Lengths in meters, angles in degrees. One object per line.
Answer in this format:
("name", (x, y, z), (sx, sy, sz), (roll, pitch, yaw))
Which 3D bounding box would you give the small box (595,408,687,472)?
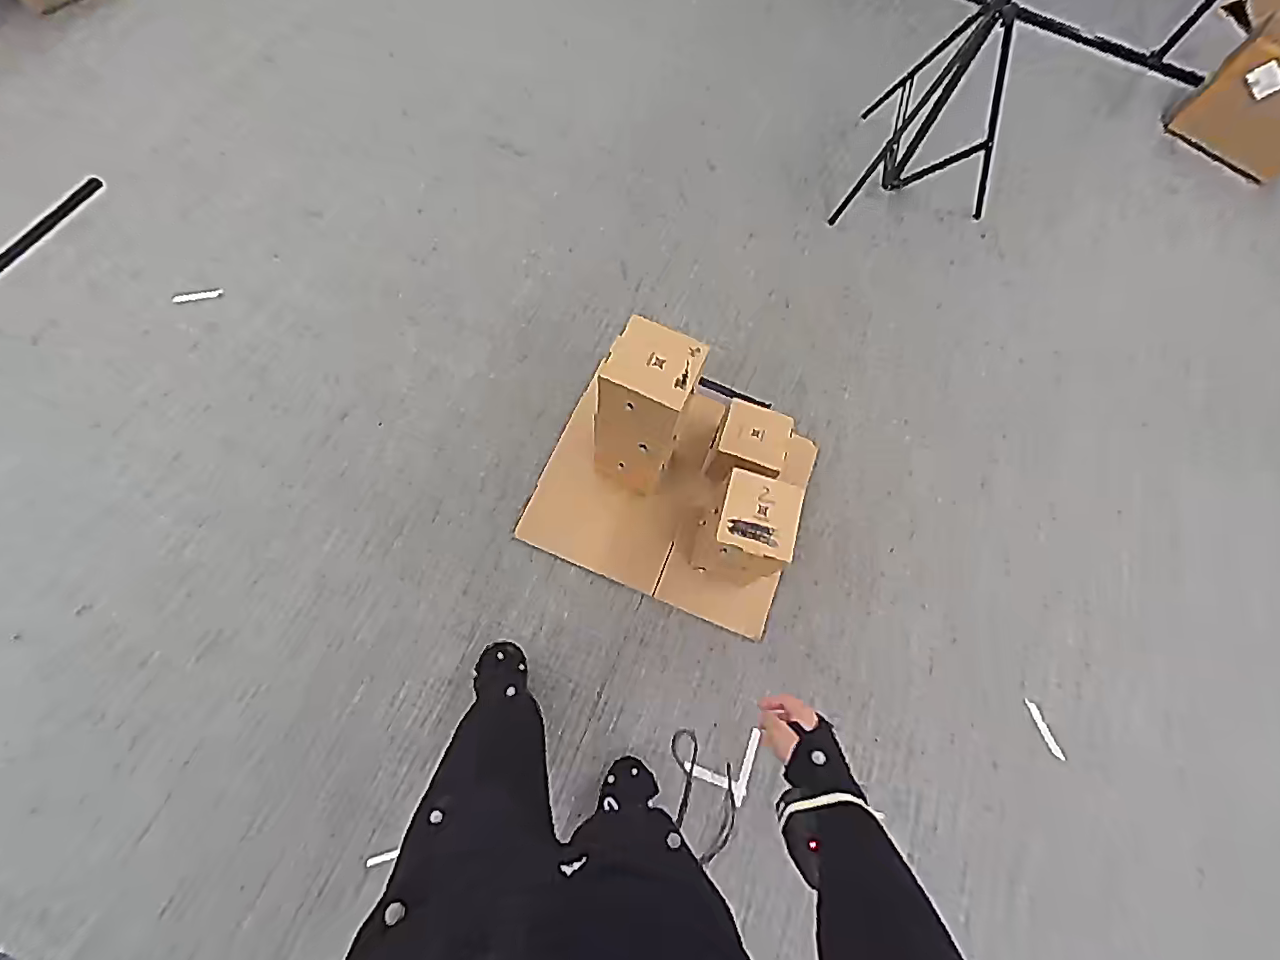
("small box", (0.007, -0.139, 1.284), (0.179, 0.176, 0.168), (27, 69, 5))

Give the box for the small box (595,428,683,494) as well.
("small box", (-0.007, -0.079, 1.436), (0.179, 0.176, 0.168), (26, 69, 5))

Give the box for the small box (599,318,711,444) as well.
("small box", (0.026, -0.199, 1.132), (0.179, 0.176, 0.168), (24, 70, 5))

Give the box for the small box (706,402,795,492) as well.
("small box", (0.296, -0.082, 1.472), (0.179, 0.176, 0.168), (19, 68, 2))

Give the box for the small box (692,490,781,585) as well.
("small box", (0.238, 0.154, 1.375), (0.168, 0.176, 0.179), (19, 68, 1))
